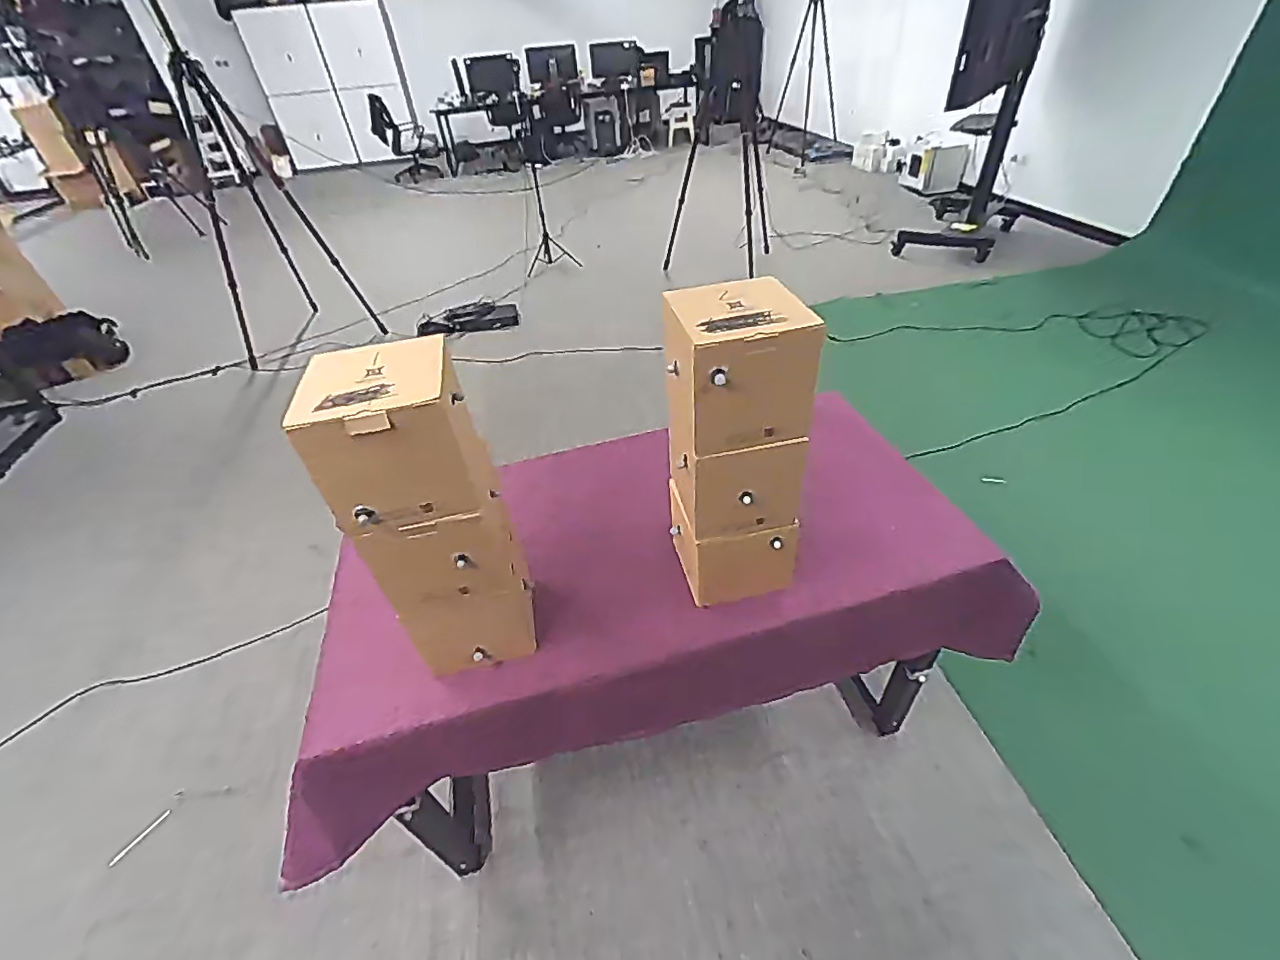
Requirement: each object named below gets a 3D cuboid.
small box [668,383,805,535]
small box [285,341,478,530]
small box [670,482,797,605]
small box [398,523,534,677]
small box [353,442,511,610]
[{"bbox_3d":[0.145,-0.029,0.859,0.168,0.176,0.179,-10,40,-5],"label":"small box"},{"bbox_3d":[-0.311,-0.054,0.695,0.168,0.176,0.179,-13,40,-8],"label":"small box"},{"bbox_3d":[0.160,0.099,0.961,0.179,0.176,0.168,-11,41,-6],"label":"small box"},{"bbox_3d":[-0.277,0.200,0.901,0.179,0.176,0.168,-12,40,-7],"label":"small box"},{"bbox_3d":[-0.290,0.072,0.799,0.168,0.176,0.179,-11,40,-6],"label":"small box"}]
